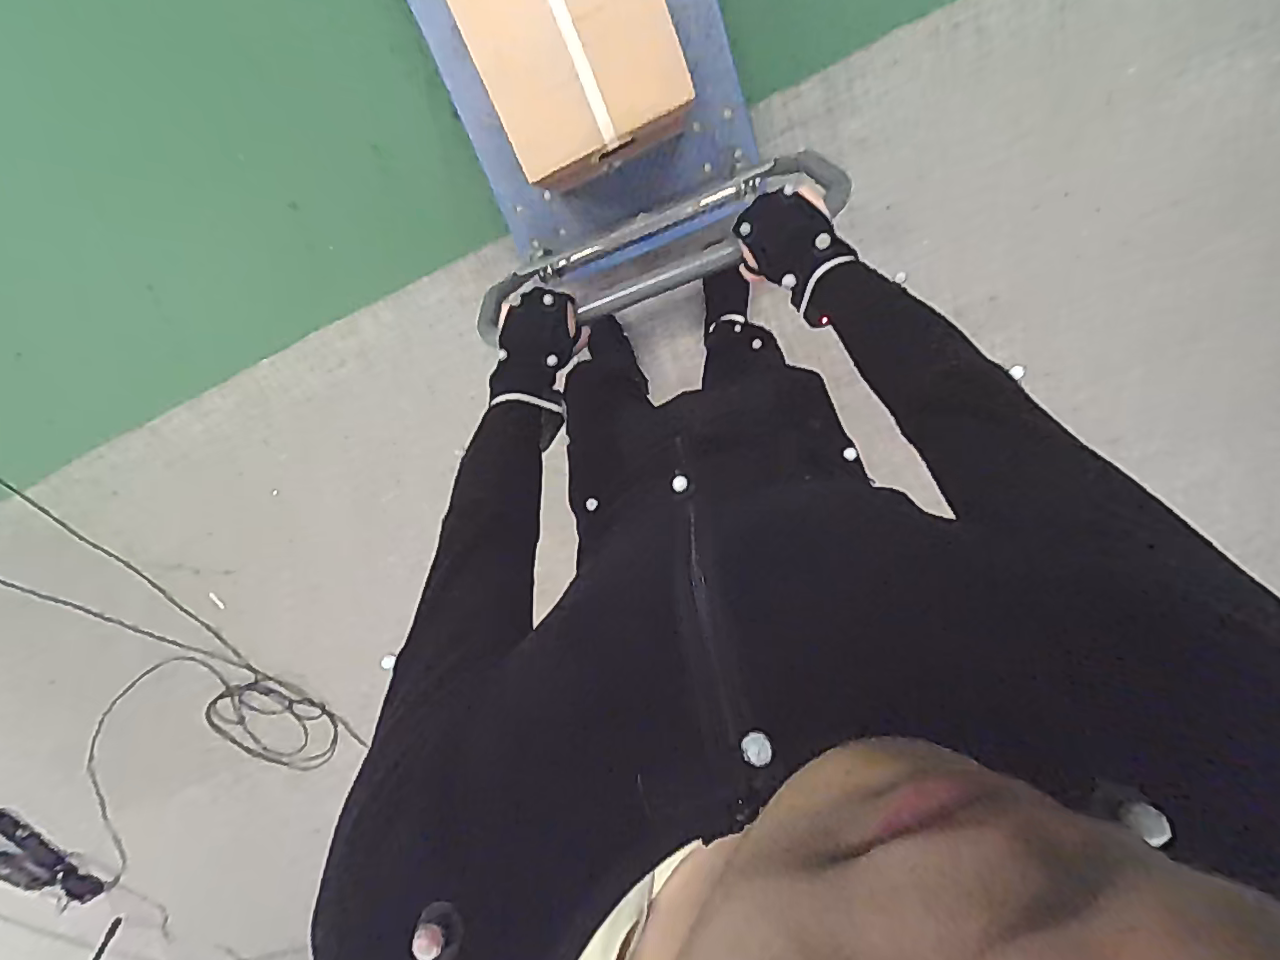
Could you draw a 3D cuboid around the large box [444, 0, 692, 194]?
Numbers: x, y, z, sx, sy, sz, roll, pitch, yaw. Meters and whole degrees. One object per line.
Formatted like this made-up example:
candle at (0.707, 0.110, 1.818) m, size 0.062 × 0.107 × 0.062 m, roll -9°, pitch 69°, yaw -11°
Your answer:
large box at (-0.125, -0.796, 0.980) m, size 0.320 × 0.320 × 0.408 m, roll -21°, pitch 112°, yaw 11°
